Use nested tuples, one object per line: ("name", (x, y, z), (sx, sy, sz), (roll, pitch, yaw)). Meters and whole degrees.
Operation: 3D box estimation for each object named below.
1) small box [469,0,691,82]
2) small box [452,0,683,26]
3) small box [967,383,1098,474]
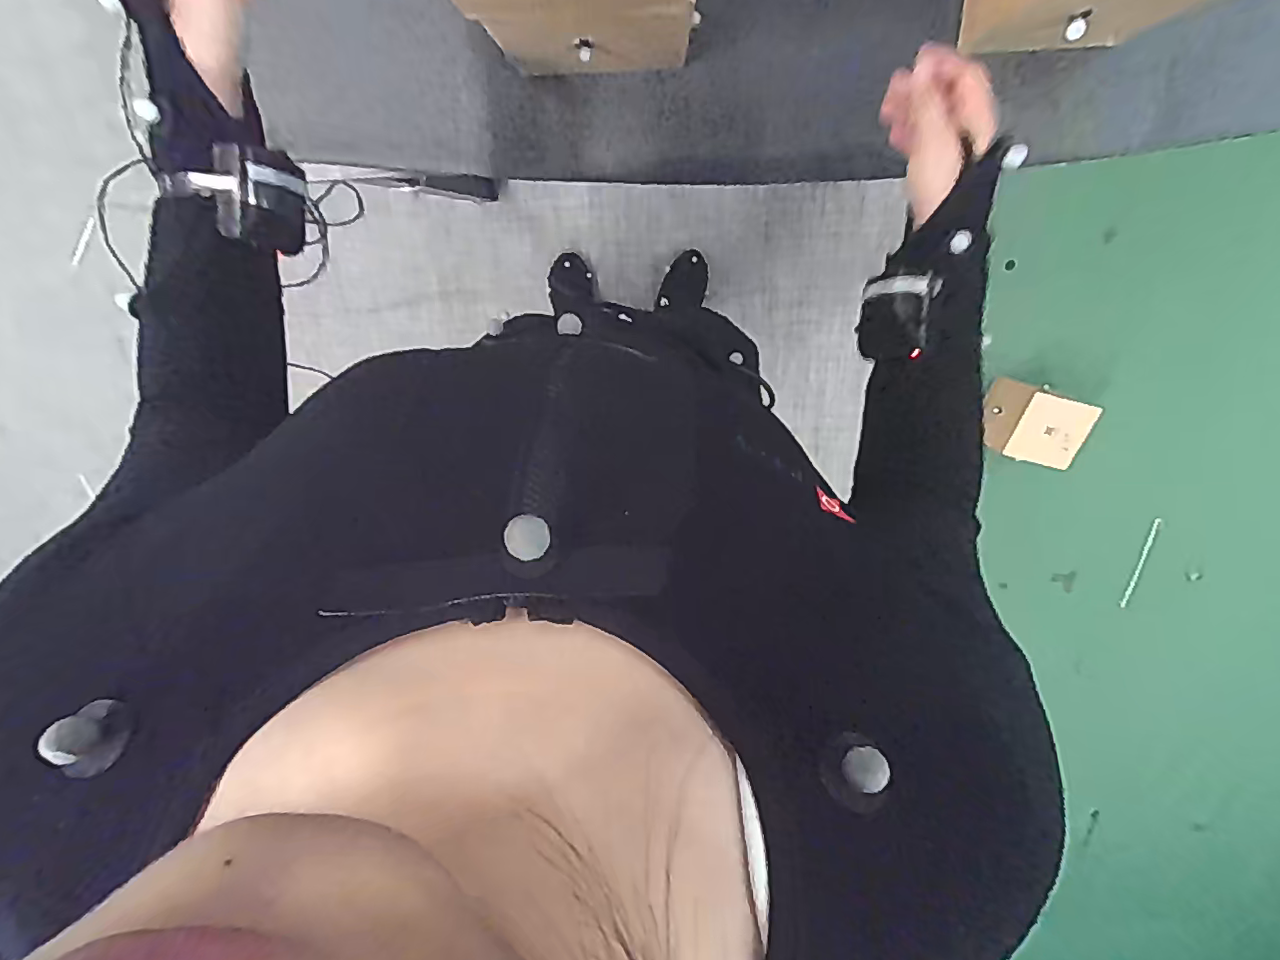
("small box", (-0.047, -0.464, 0.465), (0.179, 0.176, 0.168), (0, 113, 3))
("small box", (-0.055, -0.397, 0.317), (0.179, 0.176, 0.168), (0, 114, 1))
("small box", (0.985, -0.138, 1.378), (0.179, 0.176, 0.168), (14, 115, -5))
